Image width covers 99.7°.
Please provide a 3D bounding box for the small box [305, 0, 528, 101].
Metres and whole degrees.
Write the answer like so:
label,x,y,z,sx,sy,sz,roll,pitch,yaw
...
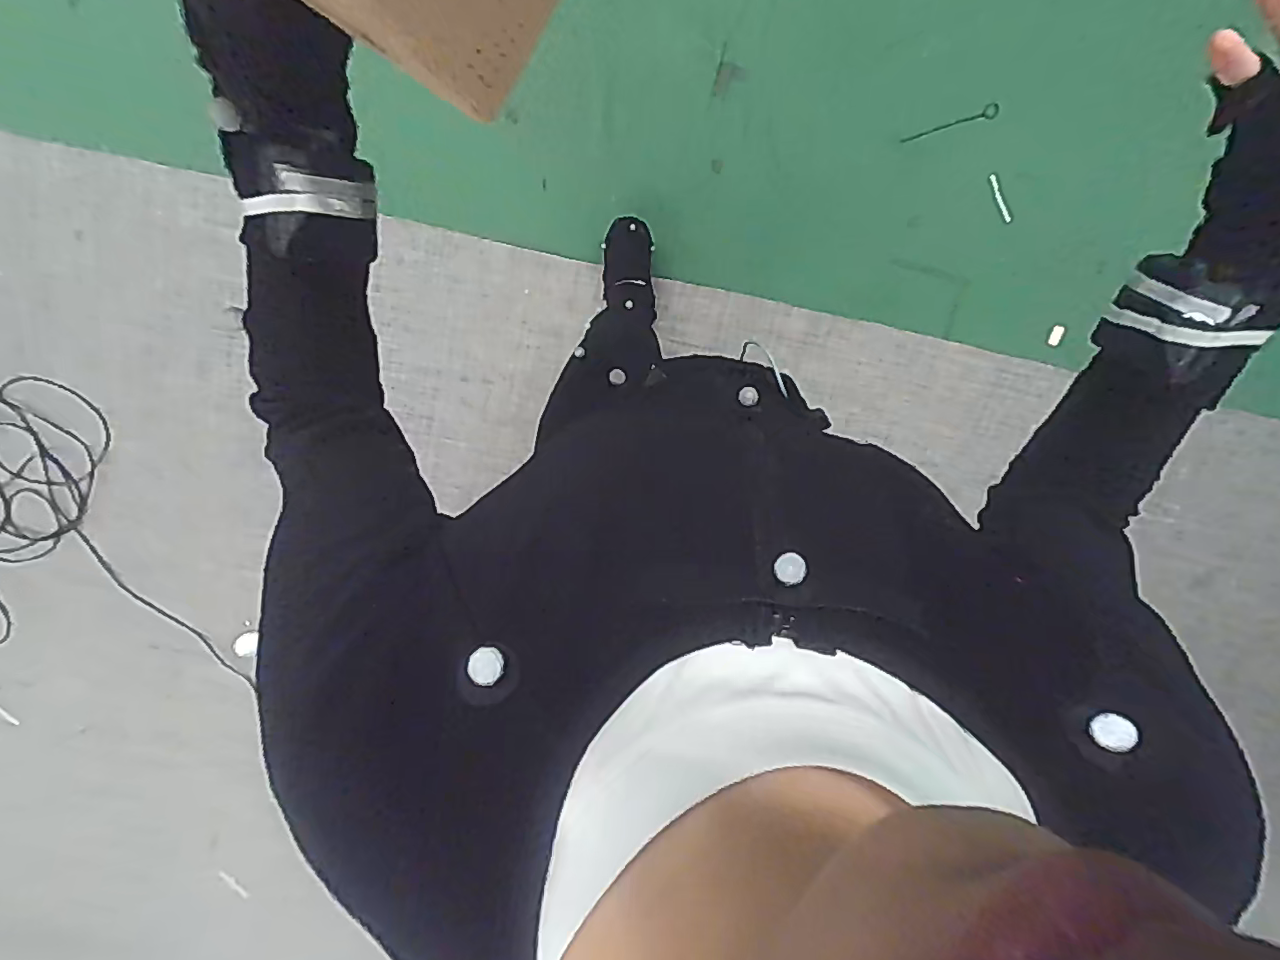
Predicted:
label,x,y,z,sx,sy,sz,roll,pitch,yaw
small box,-0.108,-0.267,0.151,0.168,0.176,0.179,39,105,11
